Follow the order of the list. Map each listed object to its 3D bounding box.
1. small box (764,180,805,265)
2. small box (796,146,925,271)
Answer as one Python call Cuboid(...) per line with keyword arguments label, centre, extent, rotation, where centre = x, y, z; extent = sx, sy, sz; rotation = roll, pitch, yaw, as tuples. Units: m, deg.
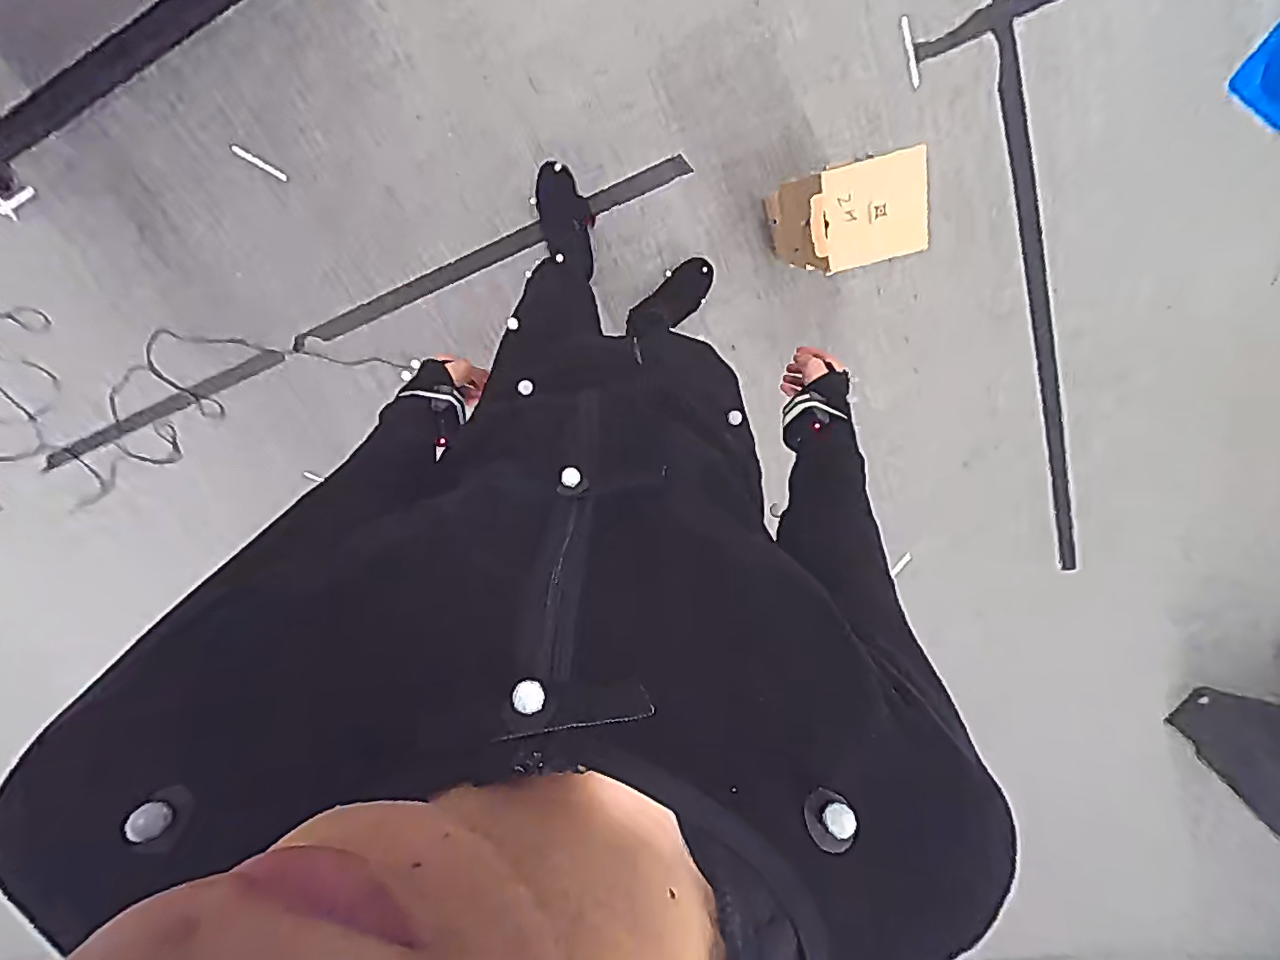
Cuboid(label="small box", centre=(0.406, -0.634, 1.305), extent=(0.179, 0.176, 0.168), rotation=(-16, 115, 10))
Cuboid(label="small box", centre=(0.403, -0.501, 1.002), extent=(0.179, 0.176, 0.168), rotation=(-11, 116, 8))
